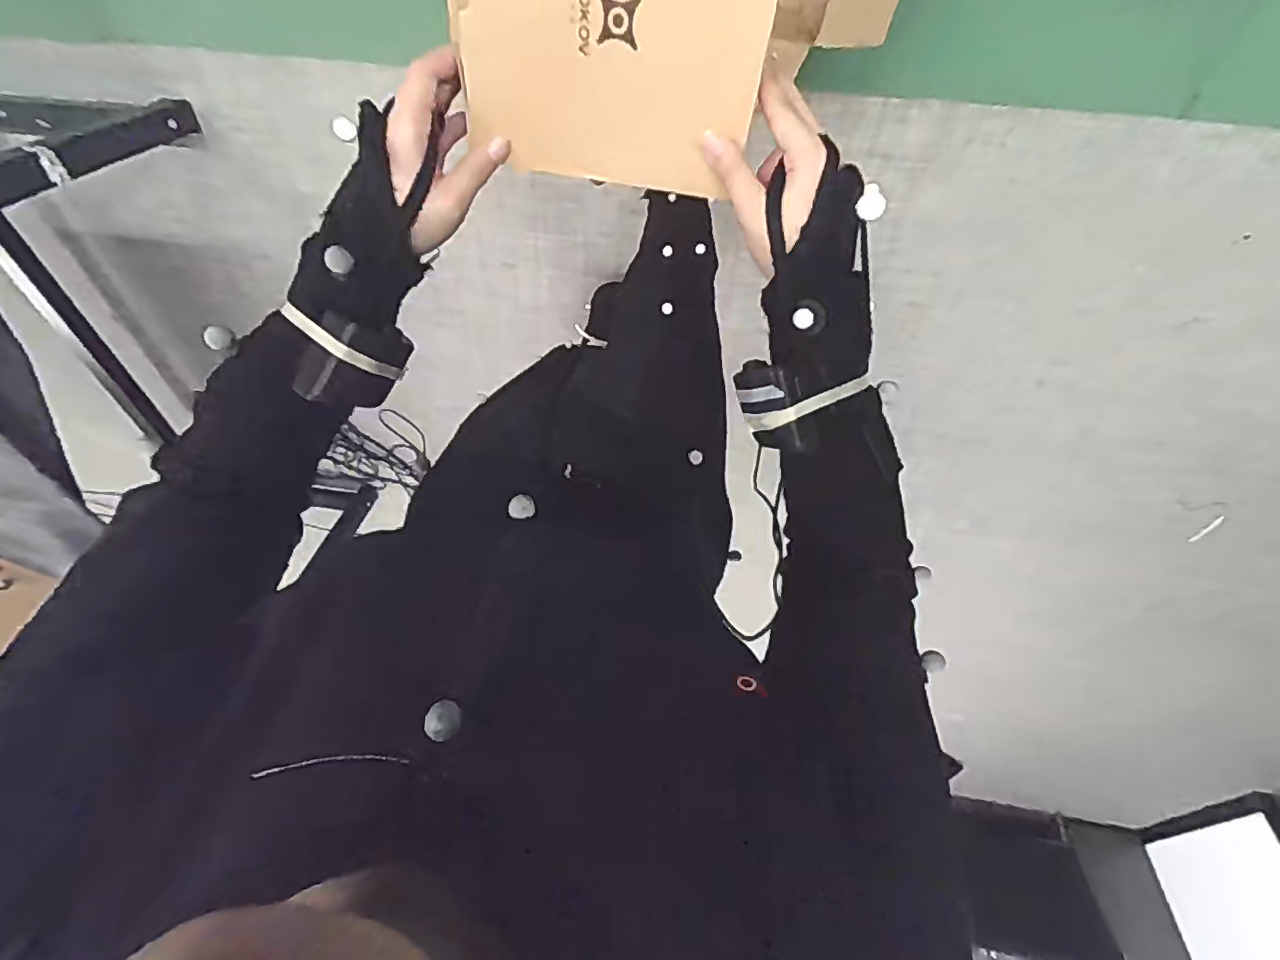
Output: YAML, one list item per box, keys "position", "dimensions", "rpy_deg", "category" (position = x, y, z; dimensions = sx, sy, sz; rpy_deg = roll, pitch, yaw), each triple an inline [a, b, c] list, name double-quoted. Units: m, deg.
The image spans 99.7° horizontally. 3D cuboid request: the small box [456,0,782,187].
- position: [-0.004, -0.313, 0.338]
  dimensions: [0.179, 0.176, 0.168]
  rpy_deg: [9, 139, 0]
  category: "small box"
